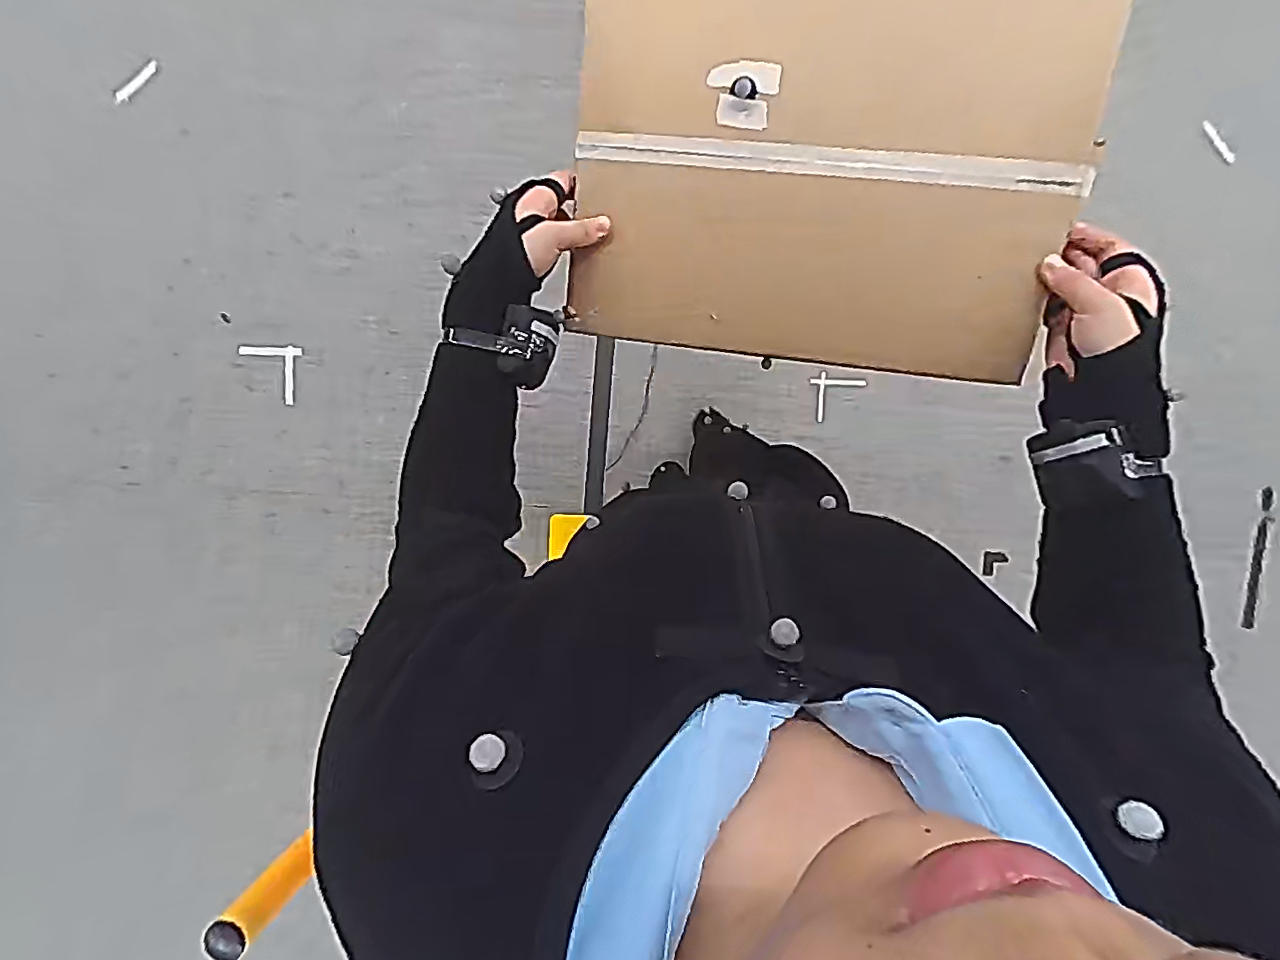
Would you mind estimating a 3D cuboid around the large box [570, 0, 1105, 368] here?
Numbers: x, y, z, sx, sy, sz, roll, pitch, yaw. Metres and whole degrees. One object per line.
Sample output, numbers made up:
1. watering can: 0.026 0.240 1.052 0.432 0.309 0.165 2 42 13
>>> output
1. large box: 0.166 -0.305 0.598 0.408 0.320 0.320 8 104 8
